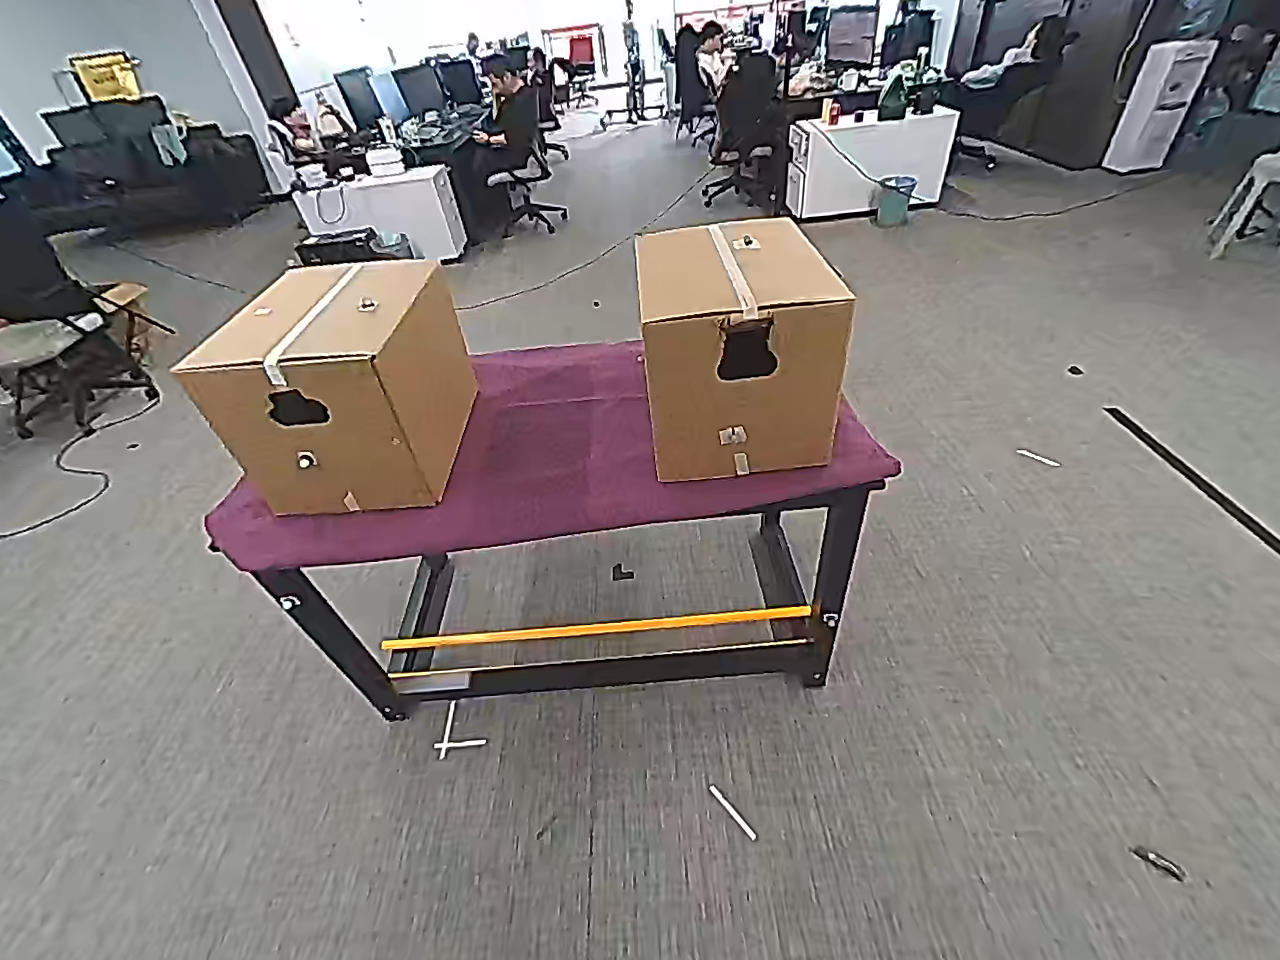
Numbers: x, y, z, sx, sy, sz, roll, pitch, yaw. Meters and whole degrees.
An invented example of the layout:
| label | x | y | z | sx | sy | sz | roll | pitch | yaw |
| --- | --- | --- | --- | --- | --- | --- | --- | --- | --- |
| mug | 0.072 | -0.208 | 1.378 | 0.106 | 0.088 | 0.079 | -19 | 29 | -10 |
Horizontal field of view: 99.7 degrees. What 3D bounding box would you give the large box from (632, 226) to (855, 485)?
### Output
| label | x | y | z | sx | sy | sz | roll | pitch | yaw |
| --- | --- | --- | --- | --- | --- | --- | --- | --- | --- |
| large box | 0.163 | -0.244 | 1.016 | 0.320 | 0.320 | 0.408 | -6 | 40 | 2 |
